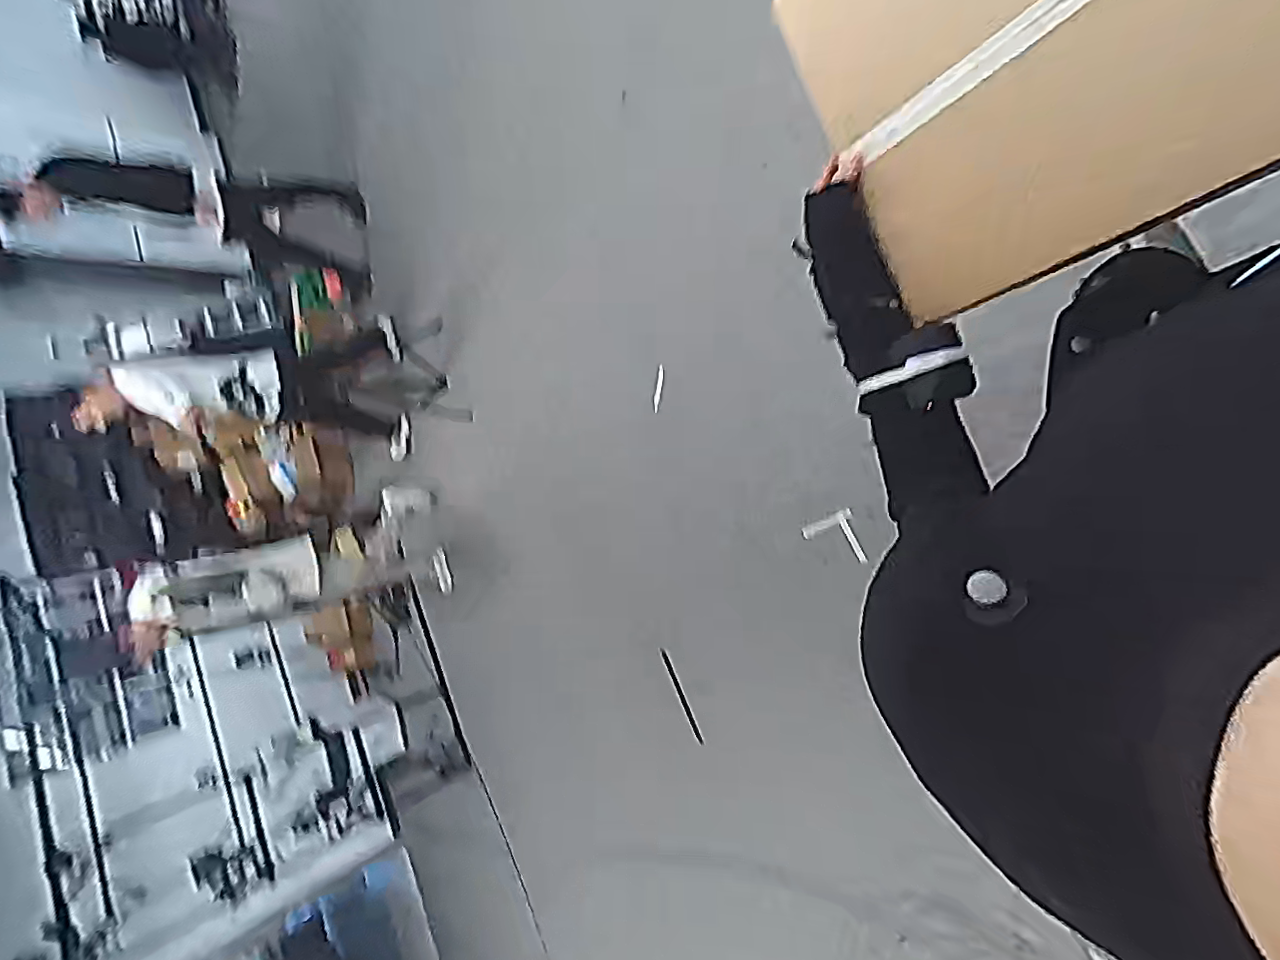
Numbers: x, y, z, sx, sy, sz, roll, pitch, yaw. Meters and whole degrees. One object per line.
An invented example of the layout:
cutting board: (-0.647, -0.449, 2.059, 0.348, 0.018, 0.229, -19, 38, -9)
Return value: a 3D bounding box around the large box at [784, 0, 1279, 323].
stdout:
large box: (0.409, -0.376, 0.450, 0.408, 0.320, 0.320, -25, 91, 44)
